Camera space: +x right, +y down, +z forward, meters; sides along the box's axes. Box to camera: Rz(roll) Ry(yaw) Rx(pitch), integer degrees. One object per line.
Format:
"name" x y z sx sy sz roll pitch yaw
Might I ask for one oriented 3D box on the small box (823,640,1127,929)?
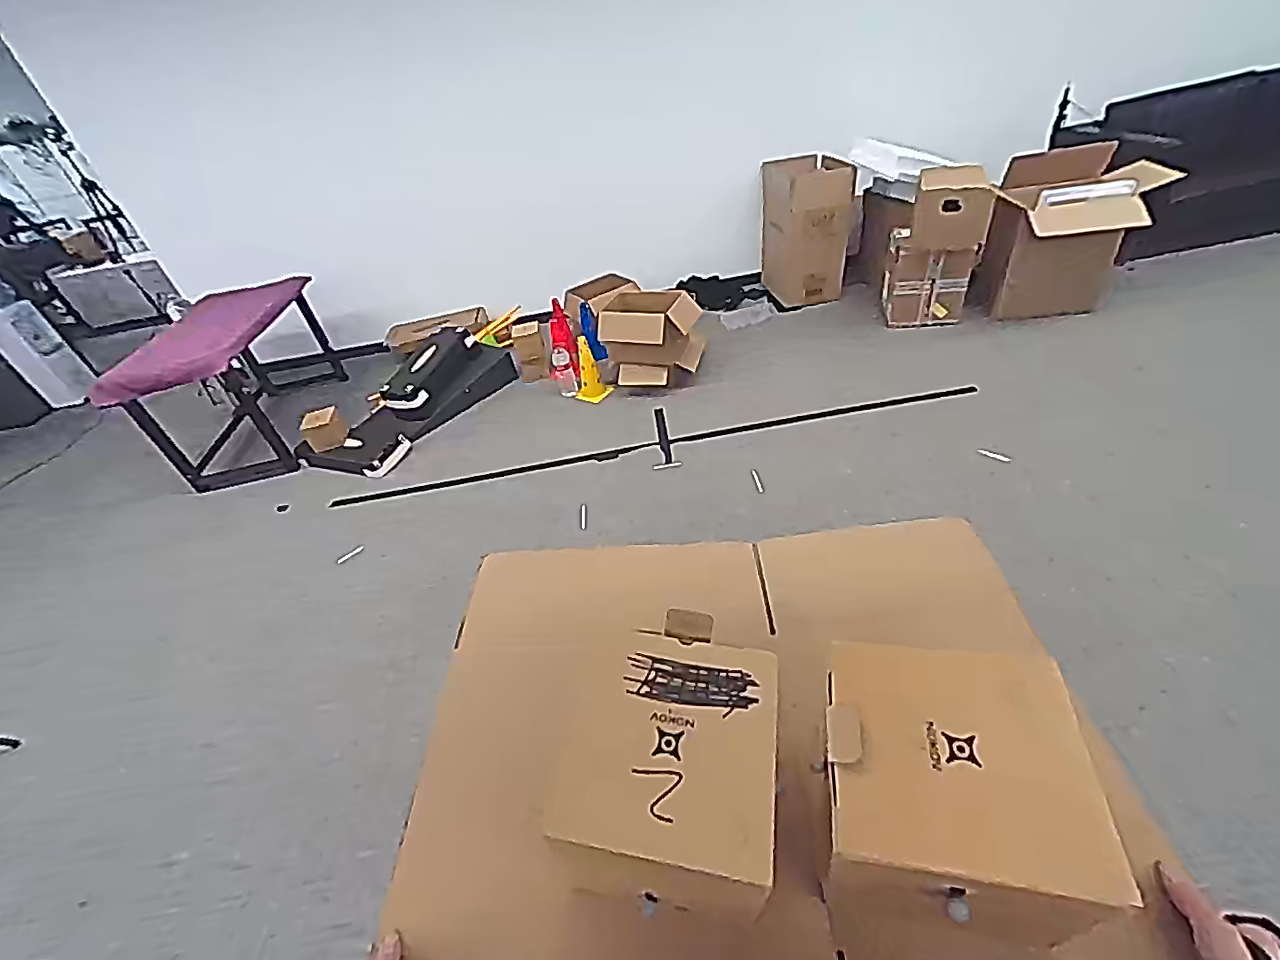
"small box" 0.255 0.260 0.467 0.179 0.176 0.168 -1 44 17
